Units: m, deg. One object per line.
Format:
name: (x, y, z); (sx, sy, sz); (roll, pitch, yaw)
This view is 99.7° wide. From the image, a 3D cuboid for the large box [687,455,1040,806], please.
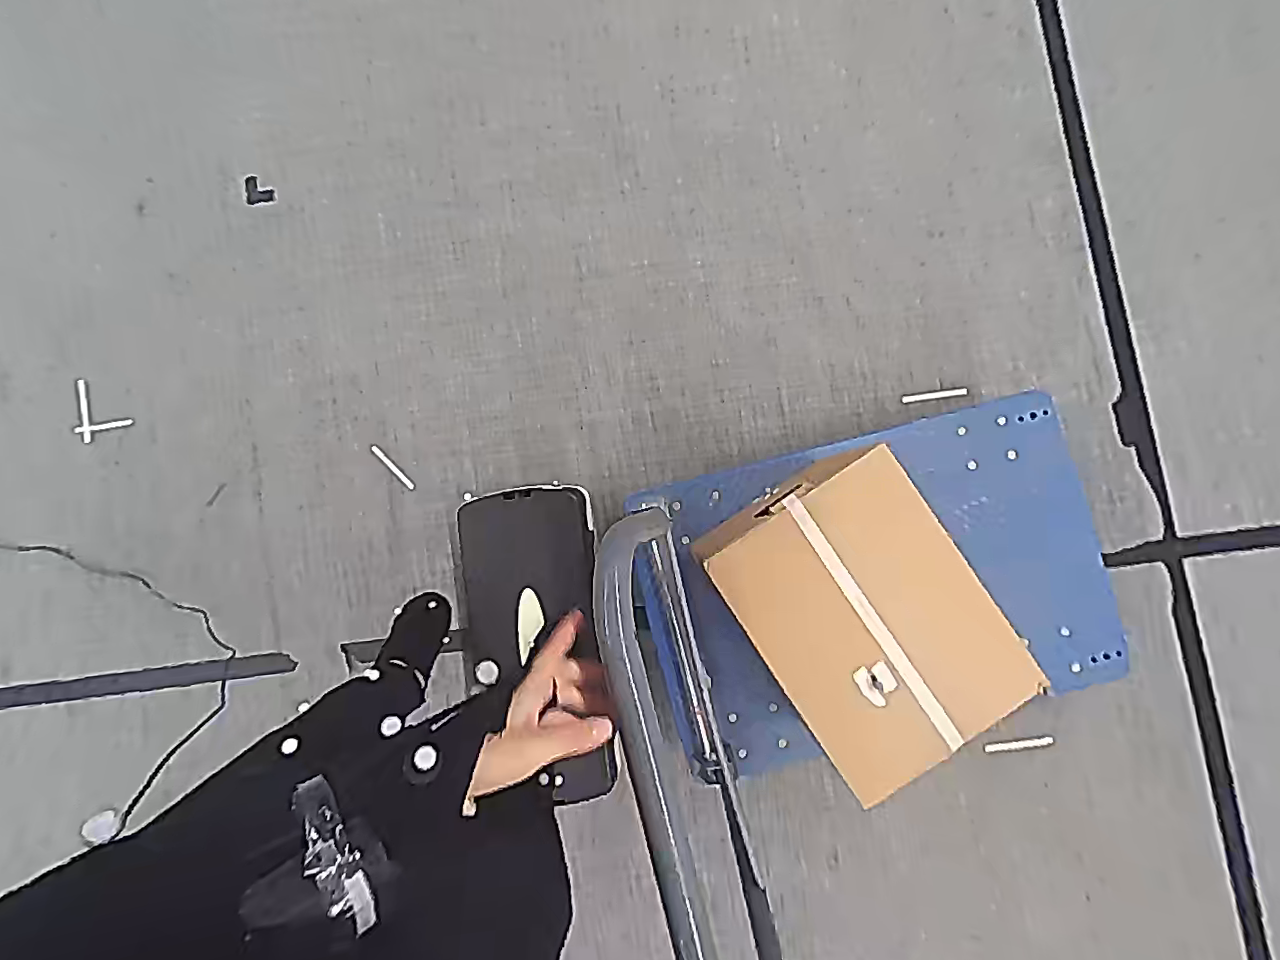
large box: (0.324, 0.214, 0.907); (0.320, 0.320, 0.408); (-33, 87, 0)
